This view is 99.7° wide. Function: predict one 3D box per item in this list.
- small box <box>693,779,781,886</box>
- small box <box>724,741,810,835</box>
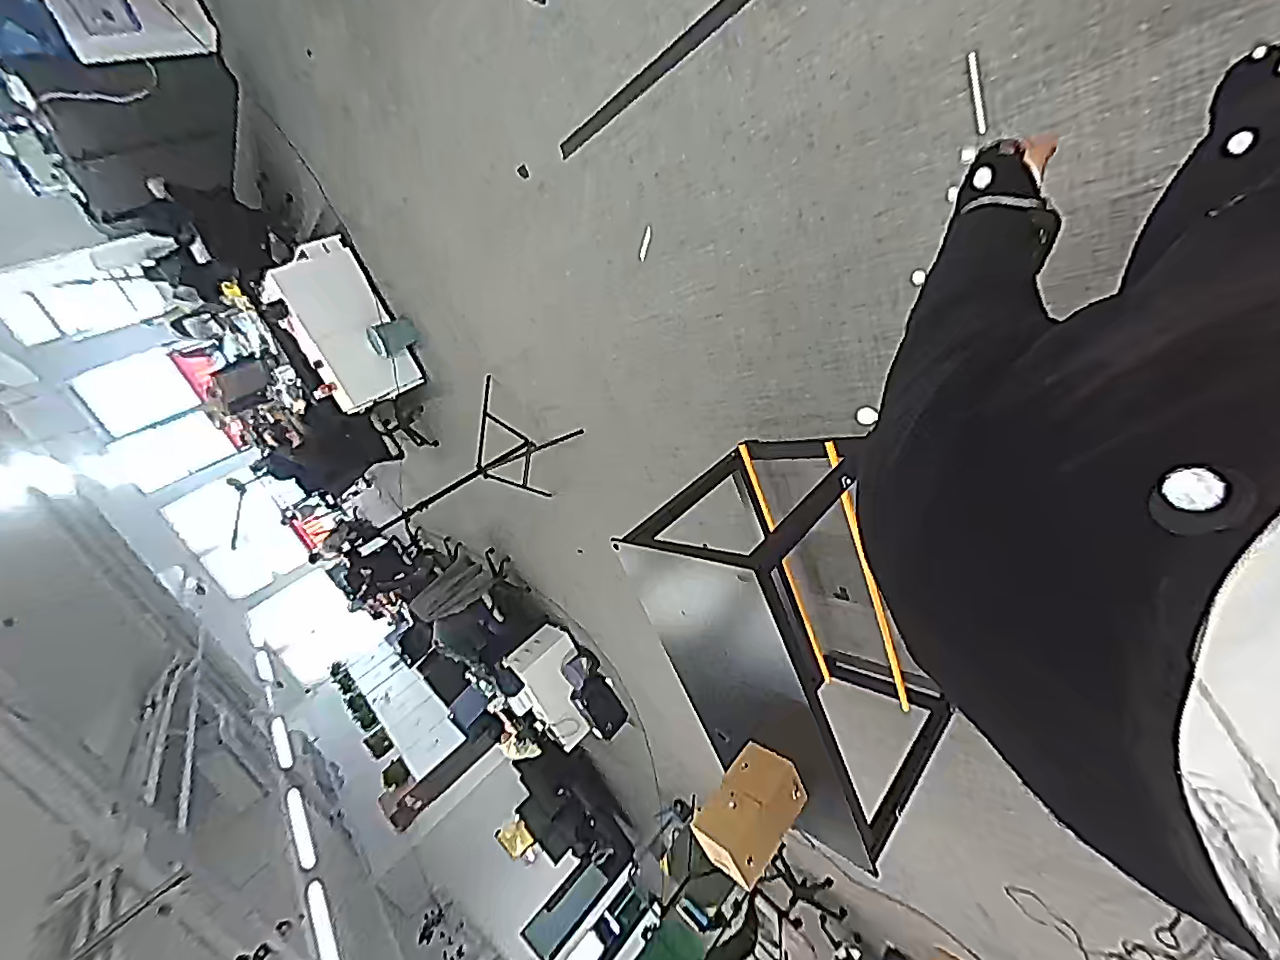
[{"bbox_3d":[0.299,1.060,1.640,0.168,0.176,0.179,-1,120,54],"label":"small box"},{"bbox_3d":[0.408,0.973,1.728,0.179,0.176,0.168,0,122,53],"label":"small box"}]
